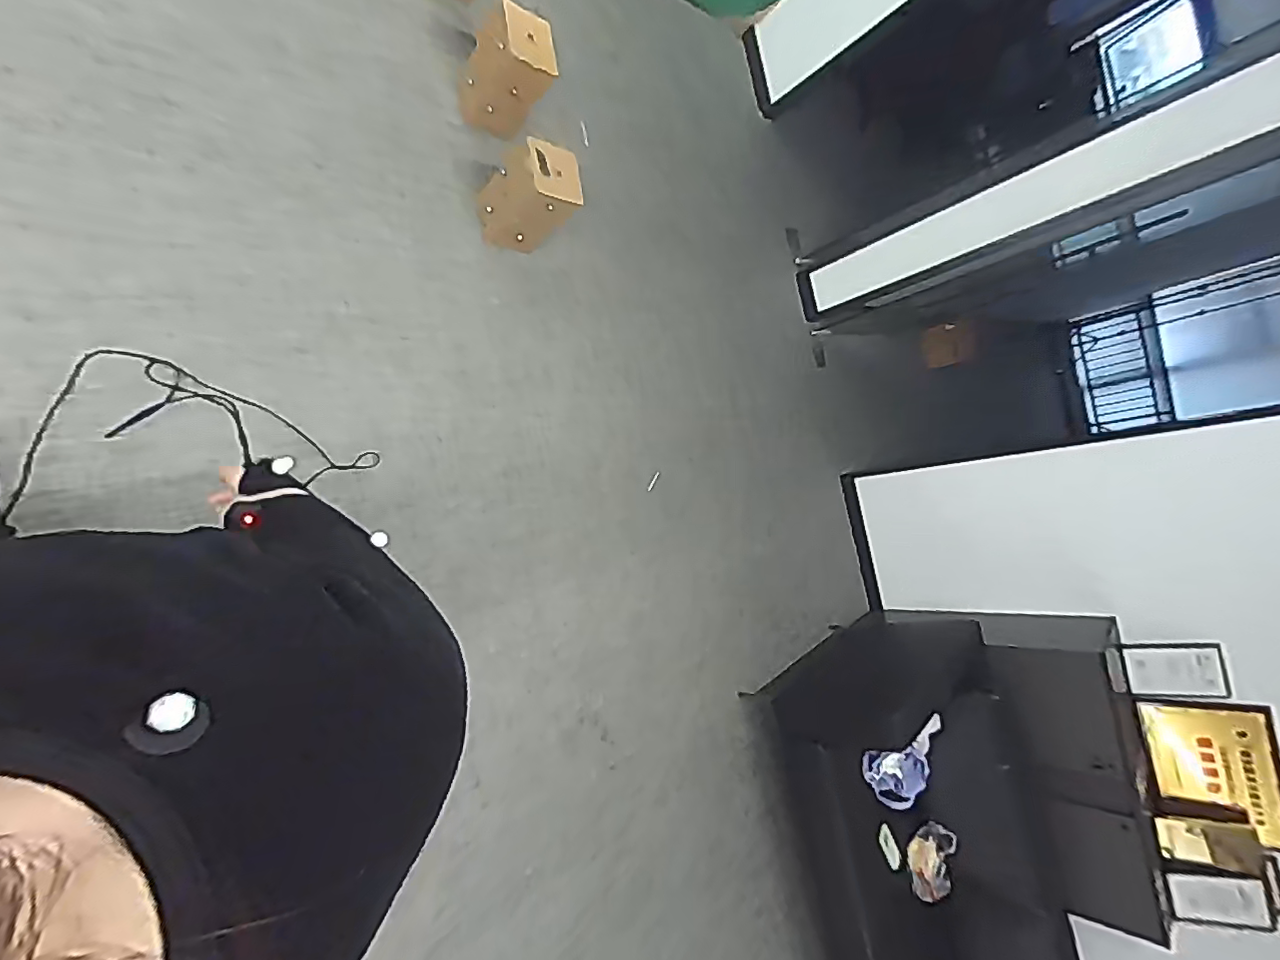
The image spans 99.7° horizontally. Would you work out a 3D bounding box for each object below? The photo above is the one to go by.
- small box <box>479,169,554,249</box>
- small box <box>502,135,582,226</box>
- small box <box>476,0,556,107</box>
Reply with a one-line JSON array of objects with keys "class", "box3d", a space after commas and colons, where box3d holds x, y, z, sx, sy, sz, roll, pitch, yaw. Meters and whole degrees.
[{"class": "small box", "box3d": [-0.413, -0.882, 1.779, 0.179, 0.176, 0.168, -11, 90, -42]}, {"class": "small box", "box3d": [-0.308, -0.905, 1.654, 0.179, 0.176, 0.168, -9, 89, -43]}, {"class": "small box", "box3d": [-0.385, -1.303, 1.658, 0.168, 0.176, 0.179, -9, 88, -43]}]
